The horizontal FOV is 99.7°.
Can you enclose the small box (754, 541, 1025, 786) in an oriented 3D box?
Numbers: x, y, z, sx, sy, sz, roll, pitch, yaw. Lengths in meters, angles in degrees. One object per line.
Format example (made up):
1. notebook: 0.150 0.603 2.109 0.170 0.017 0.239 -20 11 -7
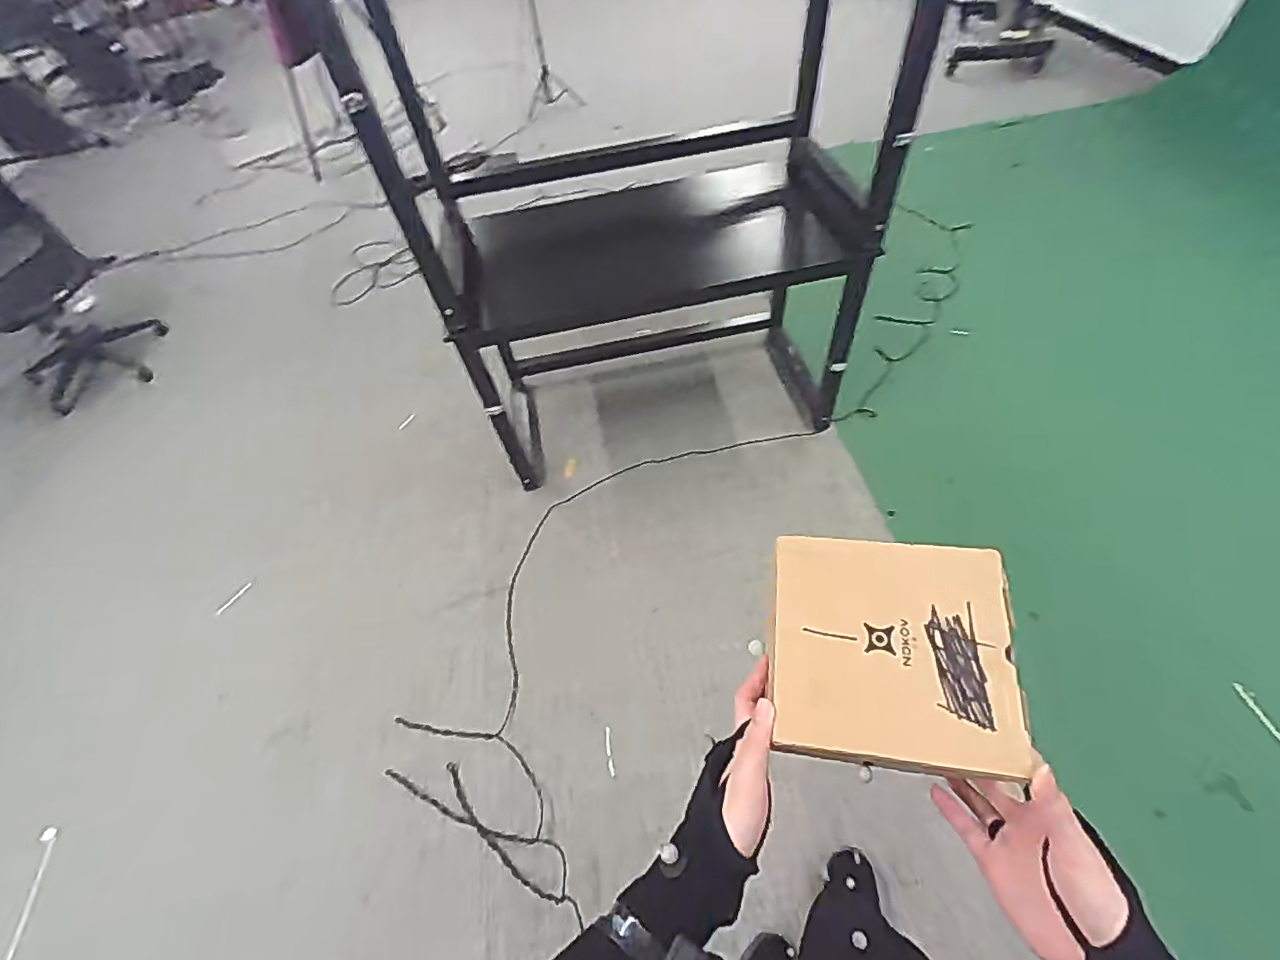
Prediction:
1. small box: 0.197 0.166 0.485 0.179 0.176 0.168 2 62 11
